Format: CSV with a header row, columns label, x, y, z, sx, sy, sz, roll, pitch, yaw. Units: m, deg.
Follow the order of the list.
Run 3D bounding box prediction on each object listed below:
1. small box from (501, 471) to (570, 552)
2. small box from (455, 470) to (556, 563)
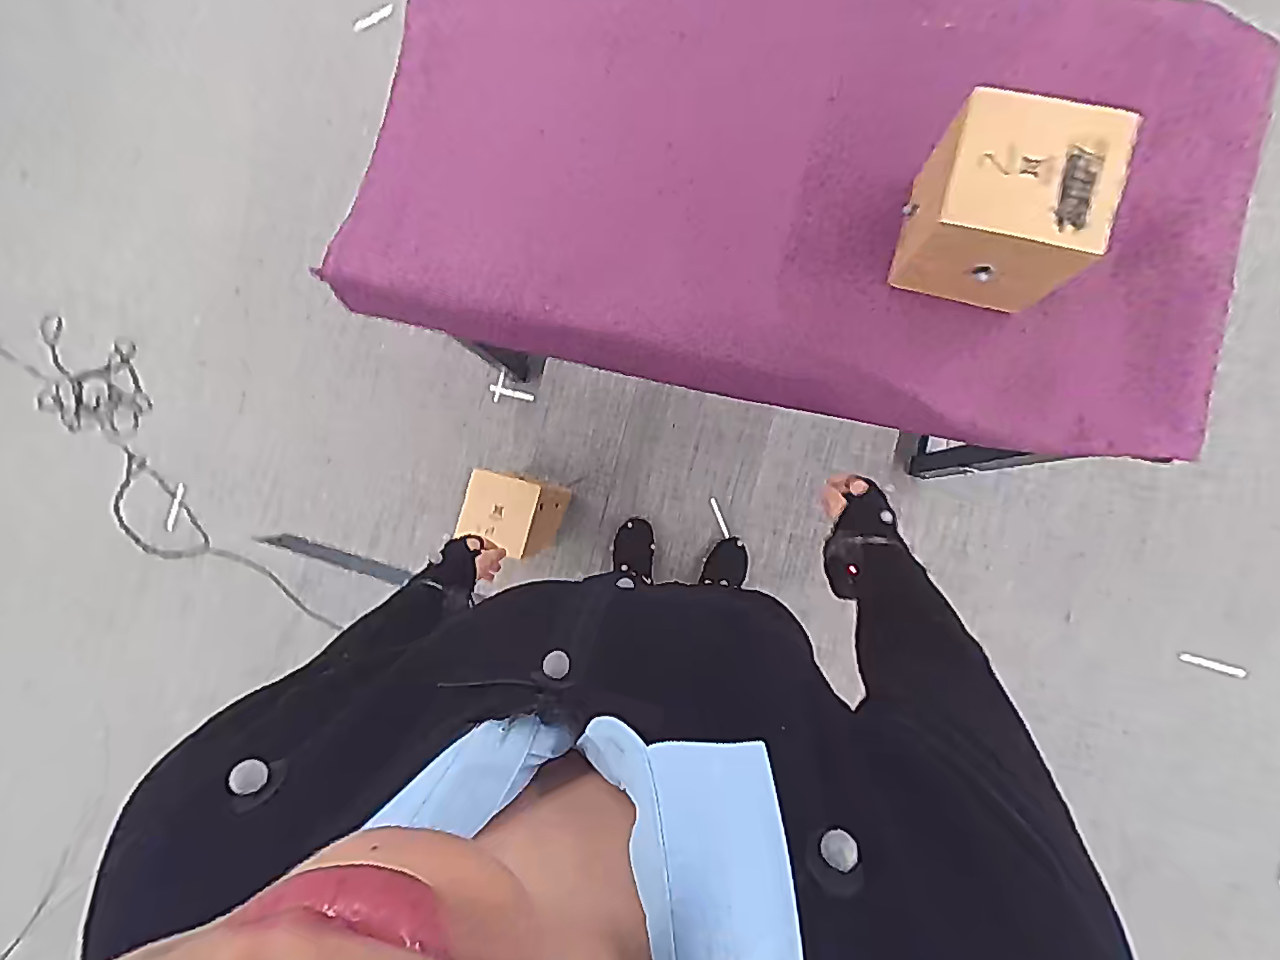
label,x,y,z,sx,sy,sz,roll,pitch,yaw
small box,-0.302,0.089,1.454,0.168,0.176,0.179,21,88,6
small box,-0.310,0.085,1.289,0.168,0.176,0.179,15,88,6
